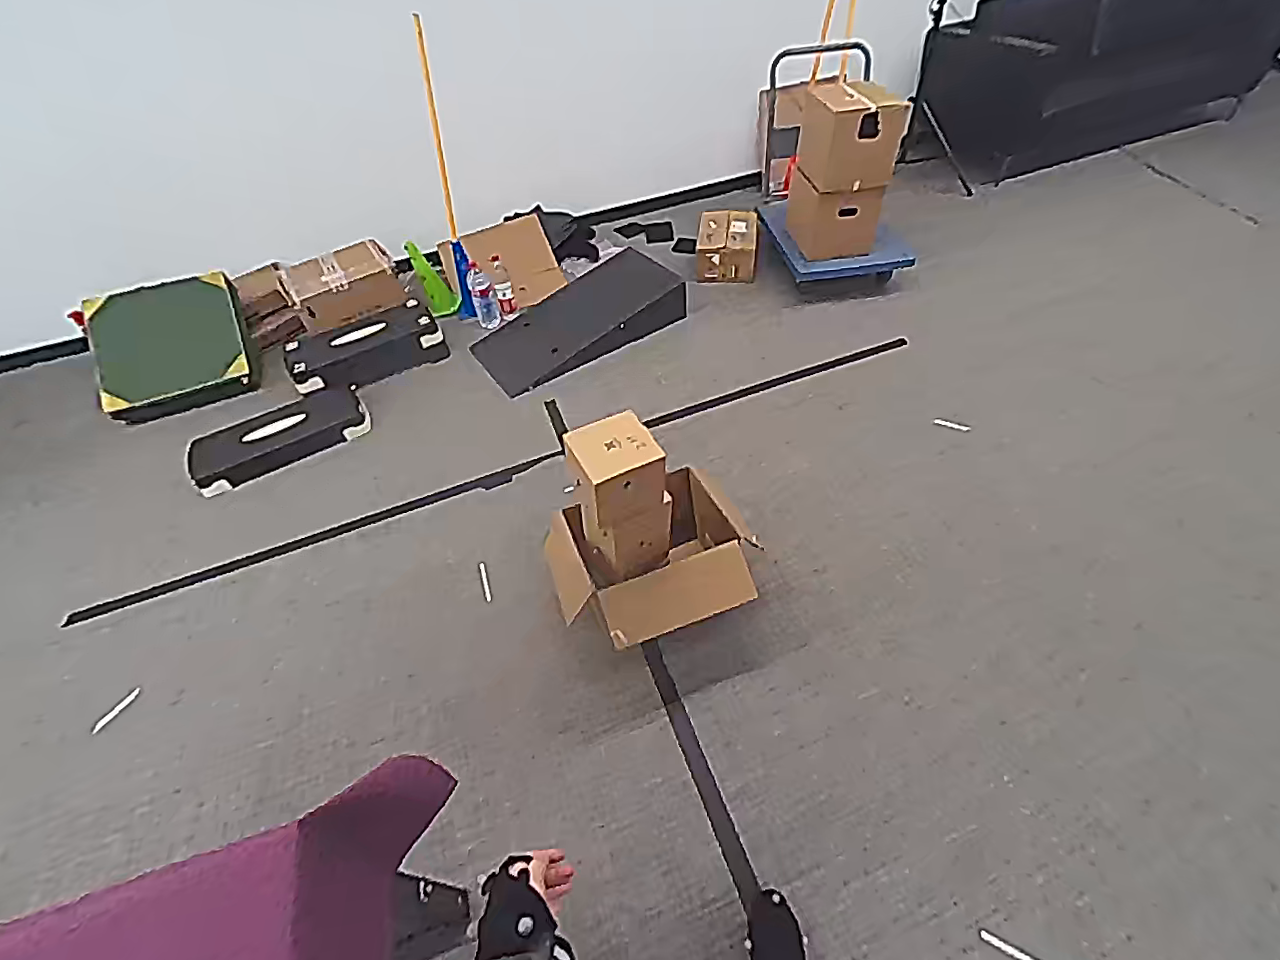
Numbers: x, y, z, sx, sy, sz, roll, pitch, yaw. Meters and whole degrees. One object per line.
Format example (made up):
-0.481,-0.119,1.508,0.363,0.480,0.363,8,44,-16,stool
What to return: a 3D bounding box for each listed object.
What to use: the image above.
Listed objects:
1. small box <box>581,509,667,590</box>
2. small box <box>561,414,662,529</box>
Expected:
-0.041,0.172,1.507,0.179,0.176,0.168,-35,57,-26,small box
-0.062,-0.016,1.236,0.179,0.176,0.168,-22,54,-18,small box
